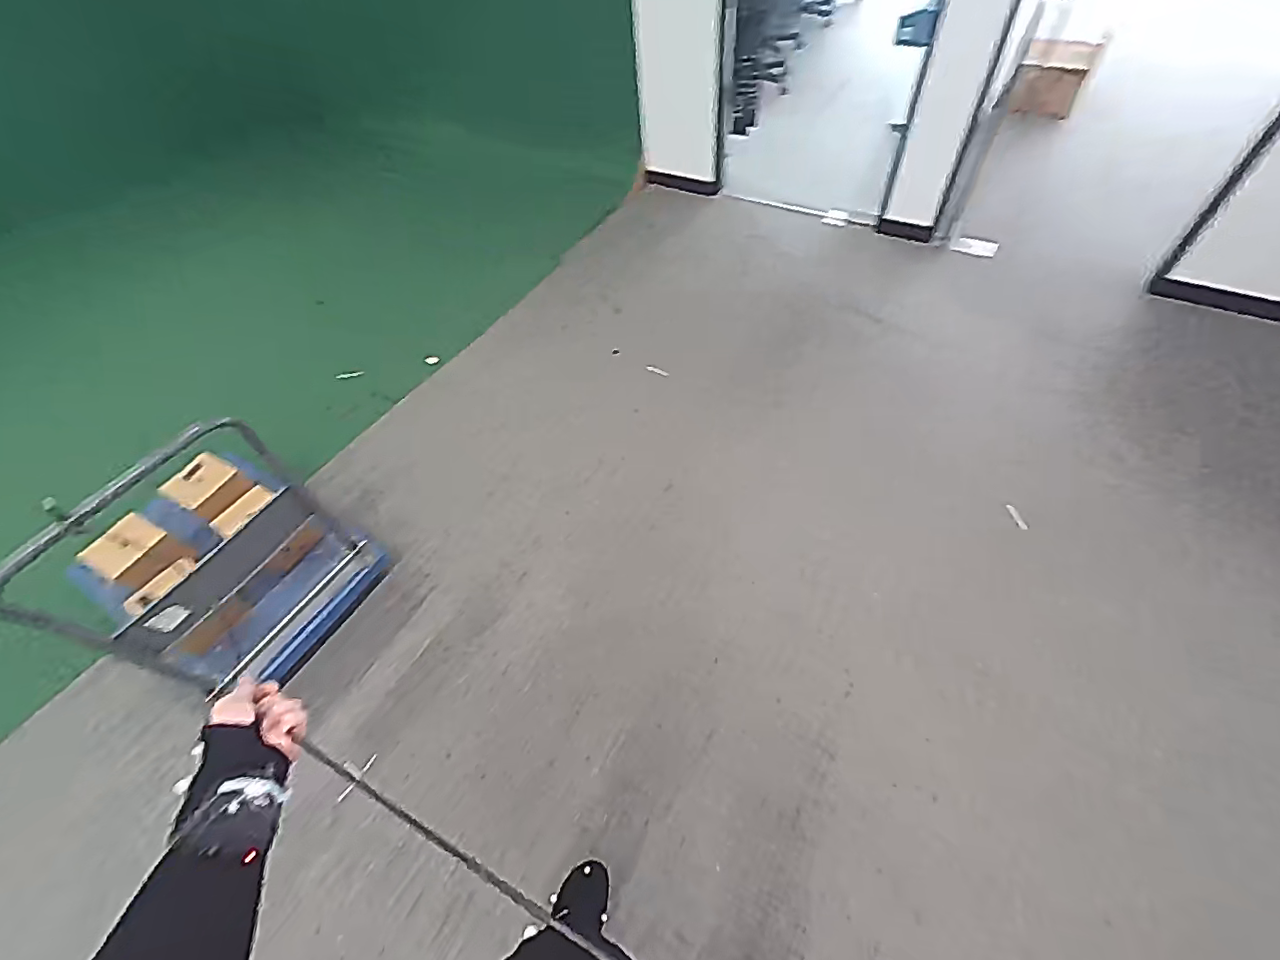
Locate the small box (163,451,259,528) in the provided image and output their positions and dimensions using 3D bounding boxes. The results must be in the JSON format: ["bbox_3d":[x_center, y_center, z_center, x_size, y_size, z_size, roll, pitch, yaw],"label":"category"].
[{"bbox_3d":[-1.348,0.040,1.735,0.179,0.176,0.168,22,59,18],"label":"small box"}]

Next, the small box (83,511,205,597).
[{"bbox_3d":[-1.464,0.226,1.611,0.179,0.176,0.168,21,58,19],"label":"small box"}]

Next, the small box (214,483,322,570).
[{"bbox_3d":[-1.119,0.147,1.639,0.179,0.176,0.168,26,60,21],"label":"small box"}]
